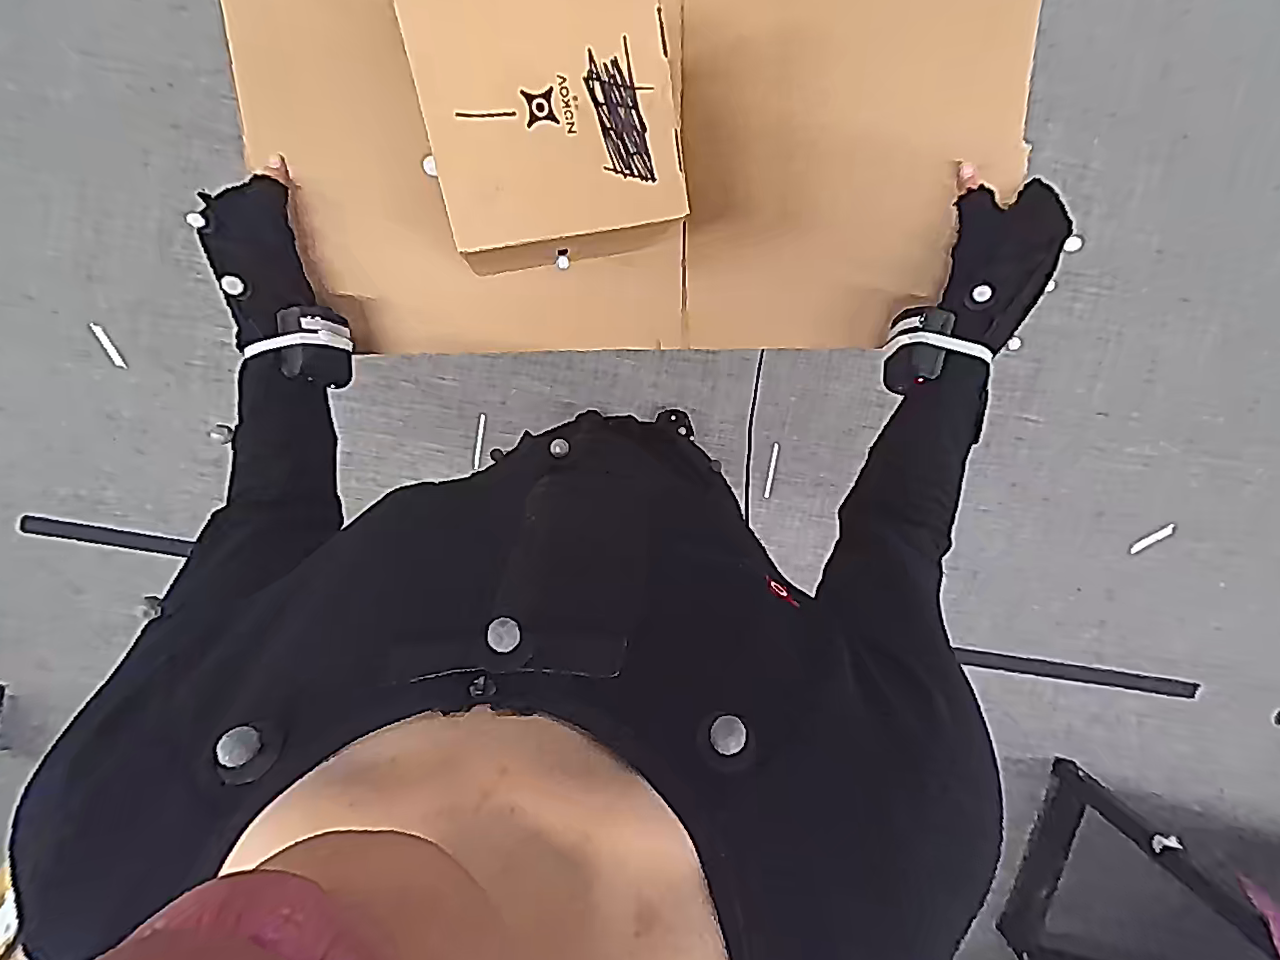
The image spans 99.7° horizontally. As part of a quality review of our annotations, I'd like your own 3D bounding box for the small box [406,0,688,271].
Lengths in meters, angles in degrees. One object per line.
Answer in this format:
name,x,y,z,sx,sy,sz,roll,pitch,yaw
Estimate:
small box,-0.074,-0.281,0.460,0.179,0.176,0.168,-12,107,-8
